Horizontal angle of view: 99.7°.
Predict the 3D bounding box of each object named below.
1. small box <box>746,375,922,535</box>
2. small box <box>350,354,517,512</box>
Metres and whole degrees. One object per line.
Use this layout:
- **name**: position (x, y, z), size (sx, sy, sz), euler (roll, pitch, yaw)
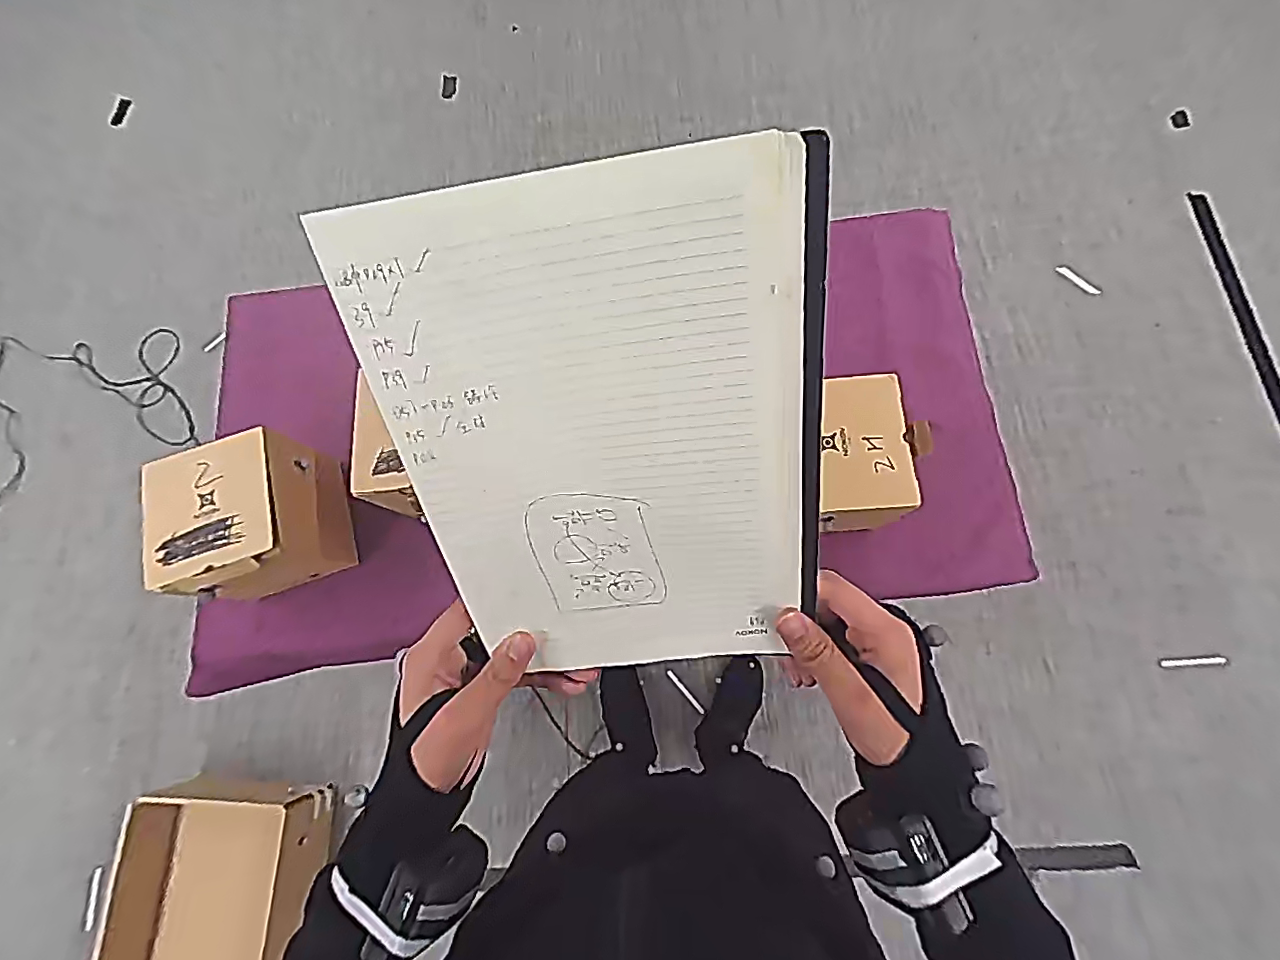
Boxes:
- **small box**: position (0.235, -0.022, 0.708), size (0.179, 0.176, 0.168), euler (-4, 76, 3)
- **small box**: position (-0.275, -0.054, 0.757), size (0.168, 0.176, 0.179), euler (-4, 75, 3)
